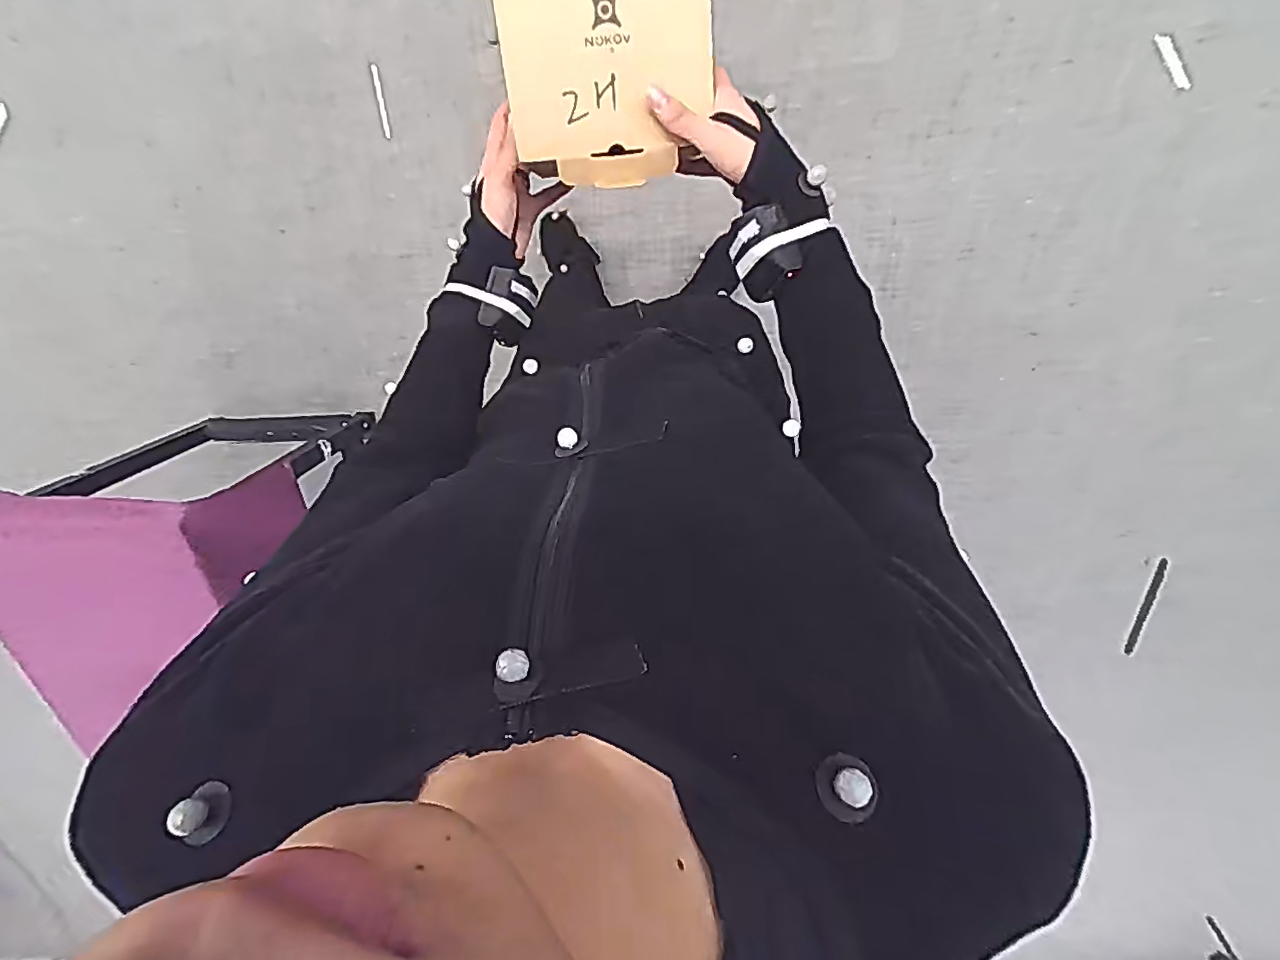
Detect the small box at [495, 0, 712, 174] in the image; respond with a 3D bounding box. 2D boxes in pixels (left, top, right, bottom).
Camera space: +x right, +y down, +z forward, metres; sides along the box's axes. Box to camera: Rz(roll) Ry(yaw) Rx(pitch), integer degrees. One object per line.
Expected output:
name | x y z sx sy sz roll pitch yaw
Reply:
small box | -0.032 -0.386 0.483 0.168 0.176 0.179 -5 116 -1
